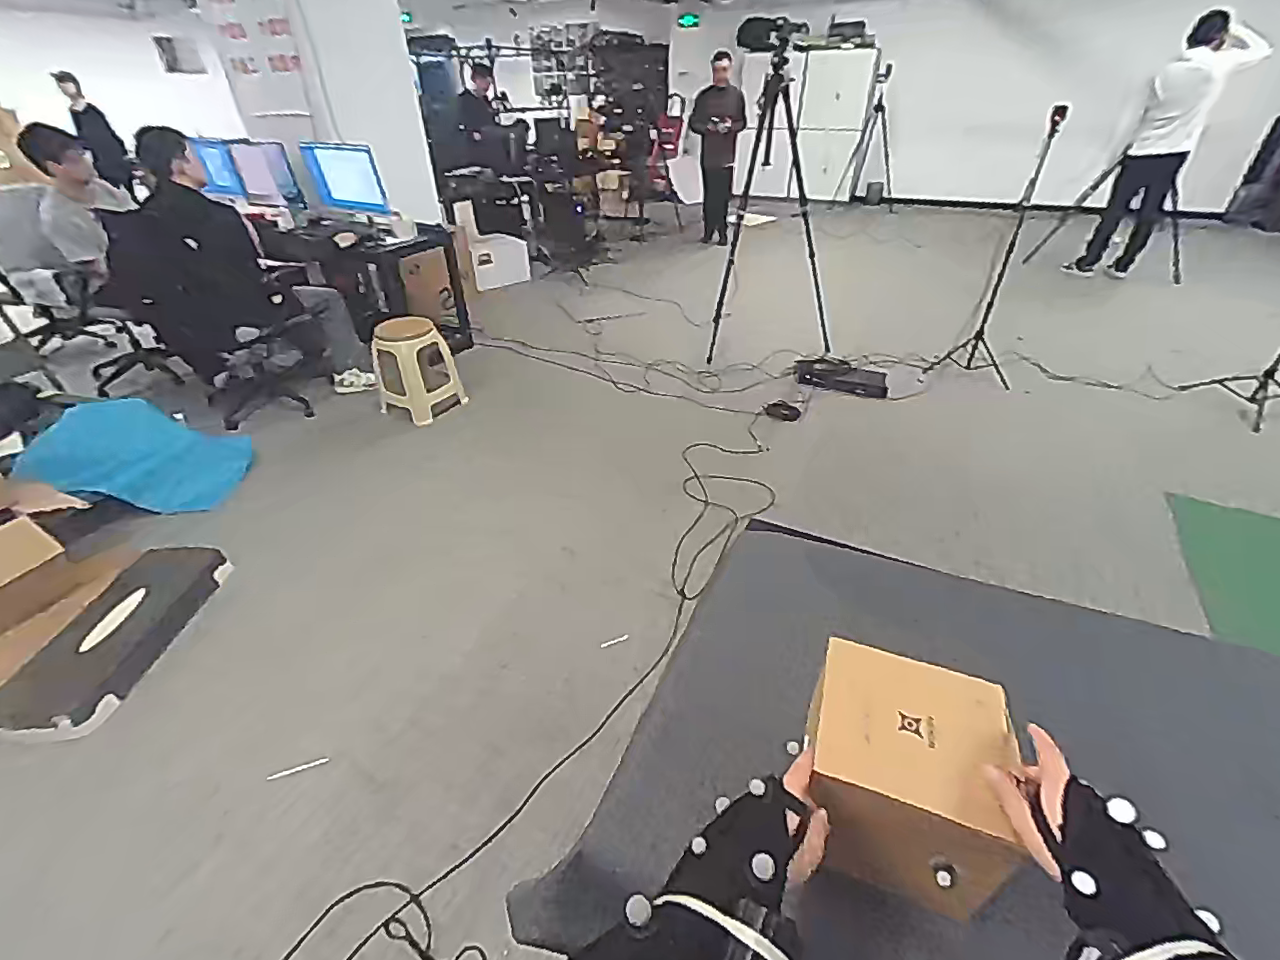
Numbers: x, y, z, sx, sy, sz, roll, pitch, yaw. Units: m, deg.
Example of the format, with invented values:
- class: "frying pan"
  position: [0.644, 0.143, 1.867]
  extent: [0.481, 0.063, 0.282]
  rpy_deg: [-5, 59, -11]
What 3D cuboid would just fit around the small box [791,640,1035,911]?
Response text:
- class: "small box"
  position: [0.268, 0.305, 0.566]
  extent: [0.179, 0.176, 0.168]
  rpy_deg: [11, 35, 18]
